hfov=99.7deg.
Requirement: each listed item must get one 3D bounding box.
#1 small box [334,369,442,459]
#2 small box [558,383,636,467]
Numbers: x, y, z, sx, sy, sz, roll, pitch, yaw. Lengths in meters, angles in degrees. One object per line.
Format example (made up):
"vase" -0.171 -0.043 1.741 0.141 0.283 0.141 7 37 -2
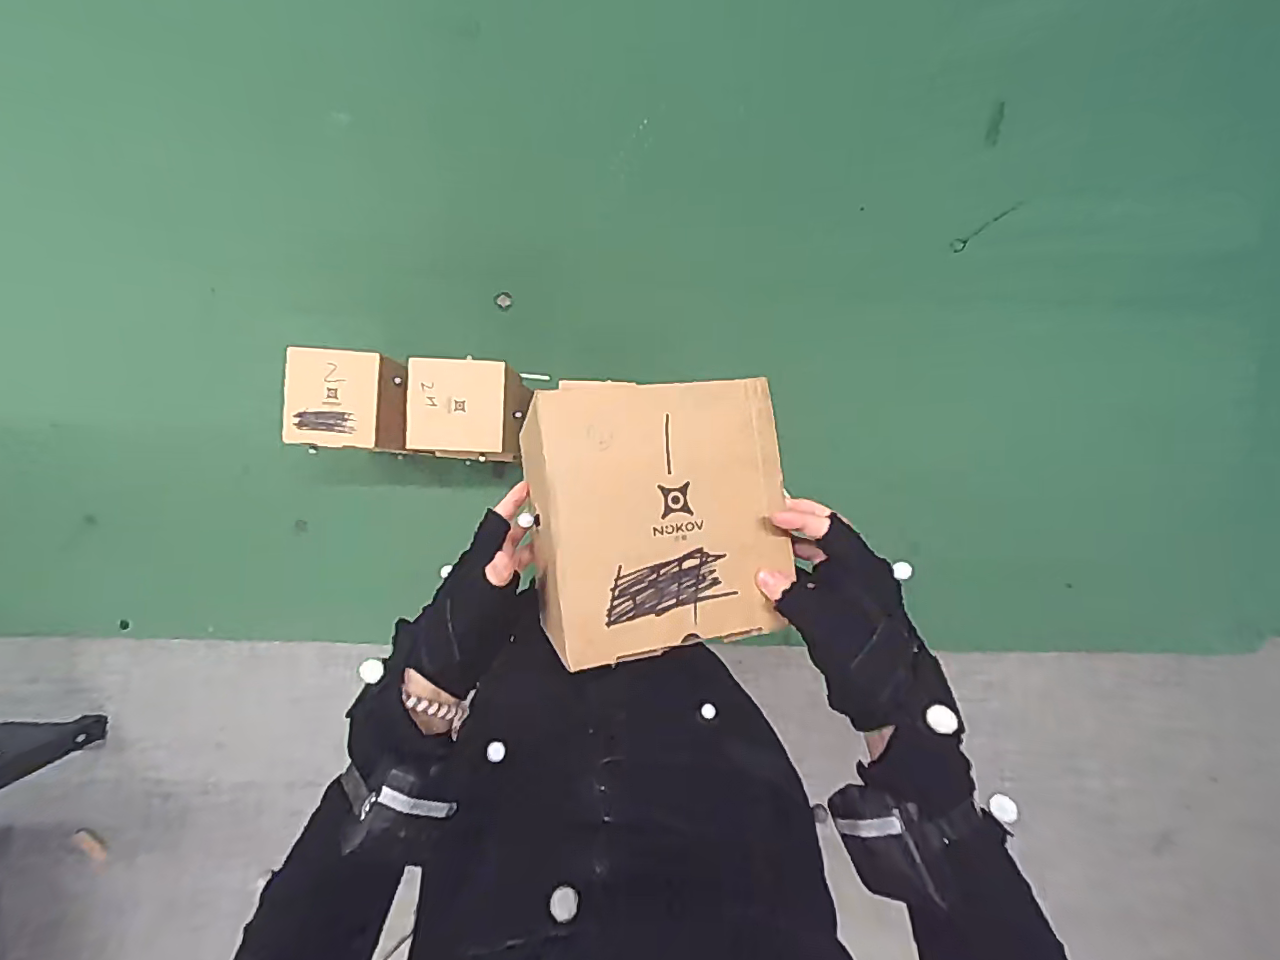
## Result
"small box" -0.560 -0.142 1.223 0.168 0.176 0.179 6 91 -1
"small box" -0.095 -0.119 1.232 0.168 0.176 0.179 1 92 -1
